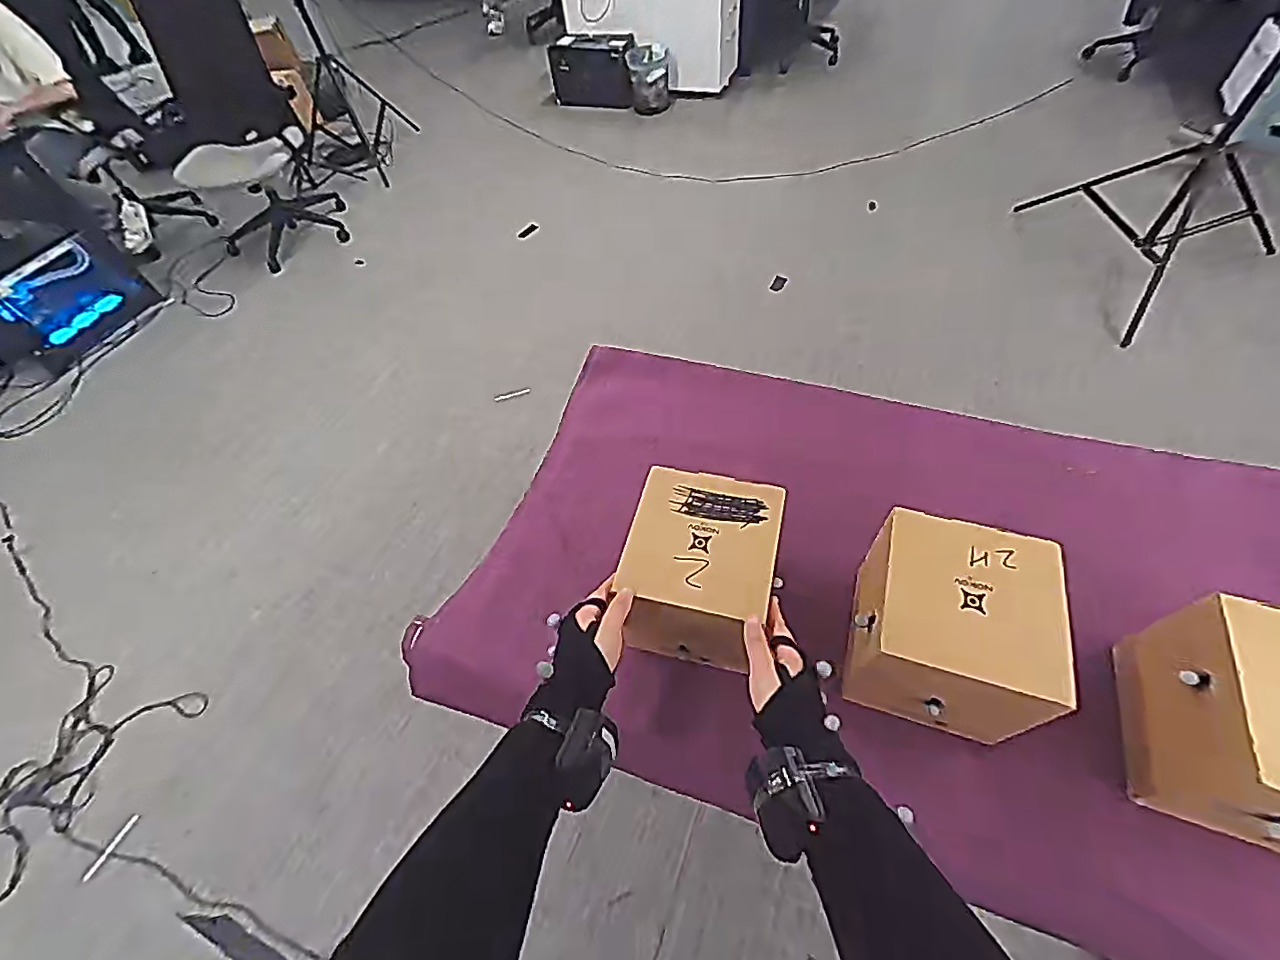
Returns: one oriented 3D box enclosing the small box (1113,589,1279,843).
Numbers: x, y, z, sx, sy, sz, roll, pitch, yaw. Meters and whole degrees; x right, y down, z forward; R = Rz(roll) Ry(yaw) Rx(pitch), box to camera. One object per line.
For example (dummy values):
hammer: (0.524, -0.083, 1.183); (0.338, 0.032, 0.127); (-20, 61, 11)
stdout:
small box: (0.608, 0.237, 0.524); (0.168, 0.176, 0.179); (14, 57, 16)

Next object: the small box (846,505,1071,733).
small box: (0.340, 0.160, 0.607); (0.168, 0.176, 0.179); (14, 56, 14)
